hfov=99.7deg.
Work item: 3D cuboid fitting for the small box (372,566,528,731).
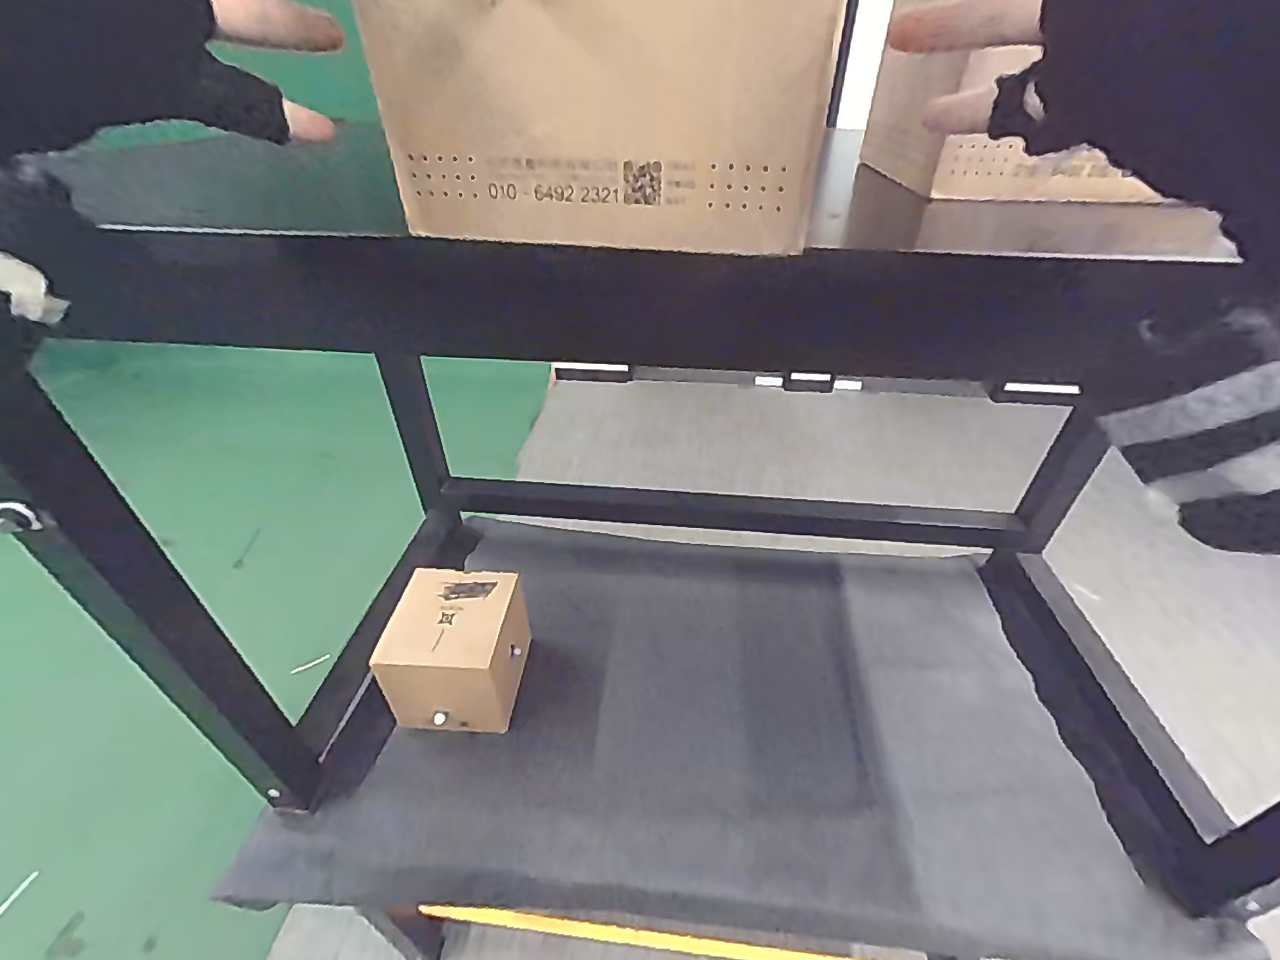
[{"bbox_3d":[-0.276,0.256,0.833,0.168,0.176,0.179,2,37,3],"label":"small box"}]
